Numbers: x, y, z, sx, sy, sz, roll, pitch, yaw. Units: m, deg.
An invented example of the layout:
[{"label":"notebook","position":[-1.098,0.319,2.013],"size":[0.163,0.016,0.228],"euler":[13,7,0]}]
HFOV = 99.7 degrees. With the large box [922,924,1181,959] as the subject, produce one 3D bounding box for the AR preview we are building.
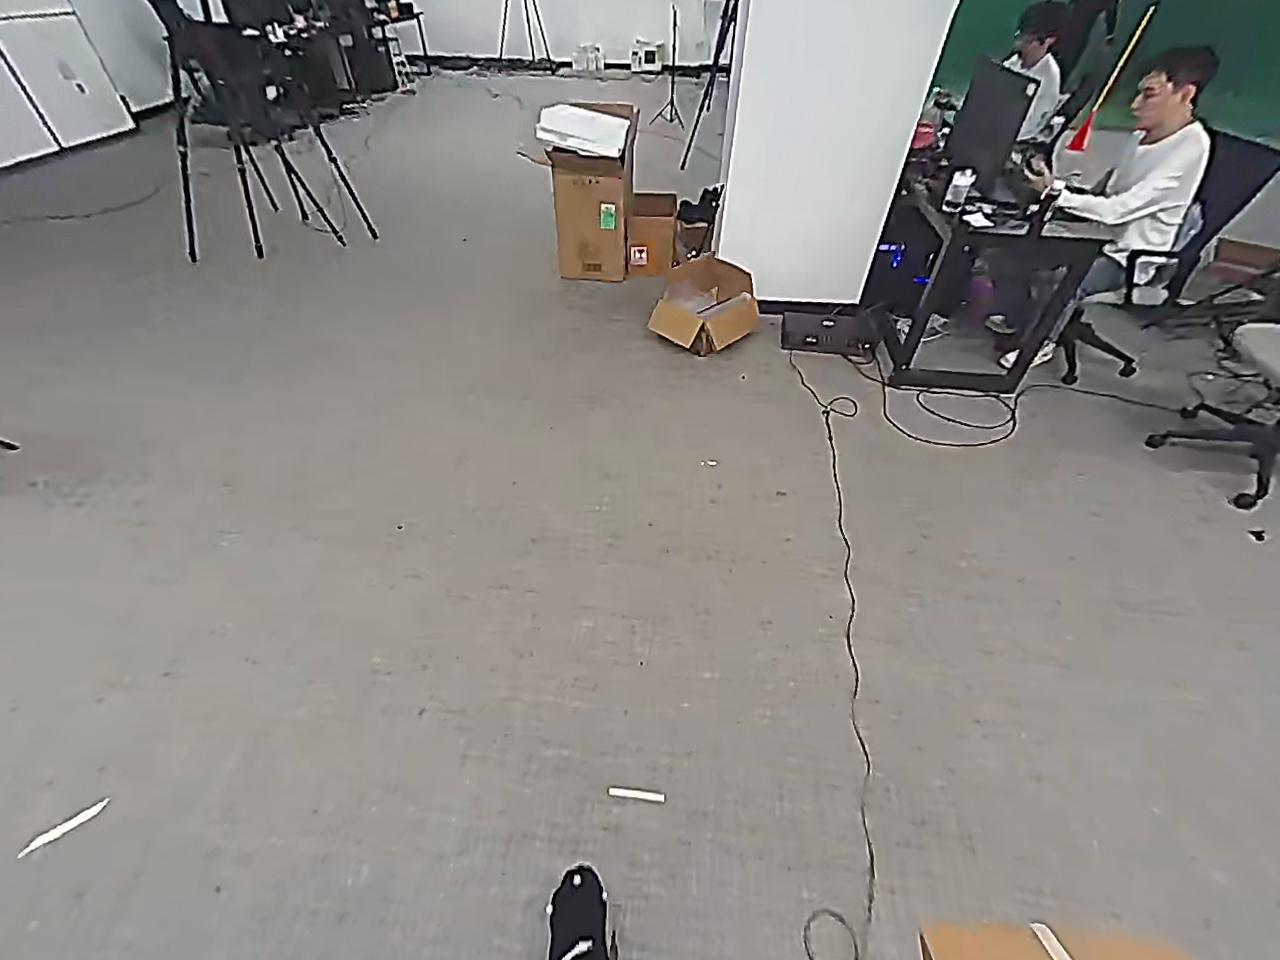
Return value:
[{"label":"large box","position":[0.520,0.765,0.542],"size":[0.320,0.408,0.320],"euler":[-5,86,12]}]
